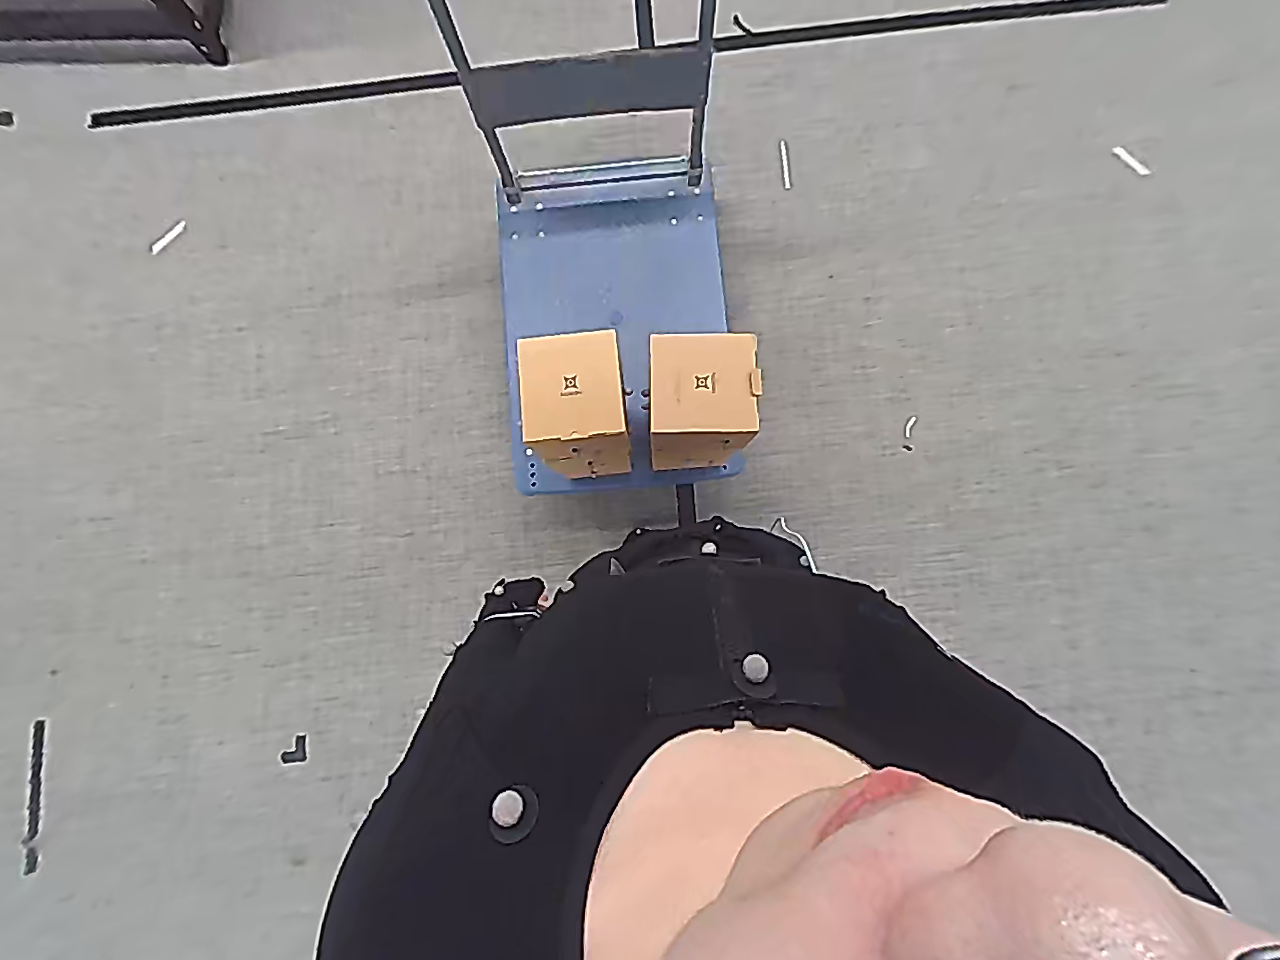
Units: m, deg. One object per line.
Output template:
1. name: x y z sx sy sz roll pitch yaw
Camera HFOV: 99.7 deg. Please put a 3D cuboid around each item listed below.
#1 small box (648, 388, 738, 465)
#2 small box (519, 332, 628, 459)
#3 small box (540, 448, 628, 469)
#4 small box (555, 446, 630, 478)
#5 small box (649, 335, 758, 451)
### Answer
1. small box: 0.103 -0.132 1.116 0.168 0.176 0.179 -3 84 1
2. small box: -0.111 -0.141 0.956 0.168 0.176 0.179 -6 84 0
3. small box: -0.118 -0.119 1.118 0.168 0.176 0.179 -8 84 -1
4. small box: -0.114 -0.102 1.282 0.168 0.176 0.179 -6 83 0
5. small box: 0.105 -0.146 0.953 0.179 0.176 0.168 0 83 2
